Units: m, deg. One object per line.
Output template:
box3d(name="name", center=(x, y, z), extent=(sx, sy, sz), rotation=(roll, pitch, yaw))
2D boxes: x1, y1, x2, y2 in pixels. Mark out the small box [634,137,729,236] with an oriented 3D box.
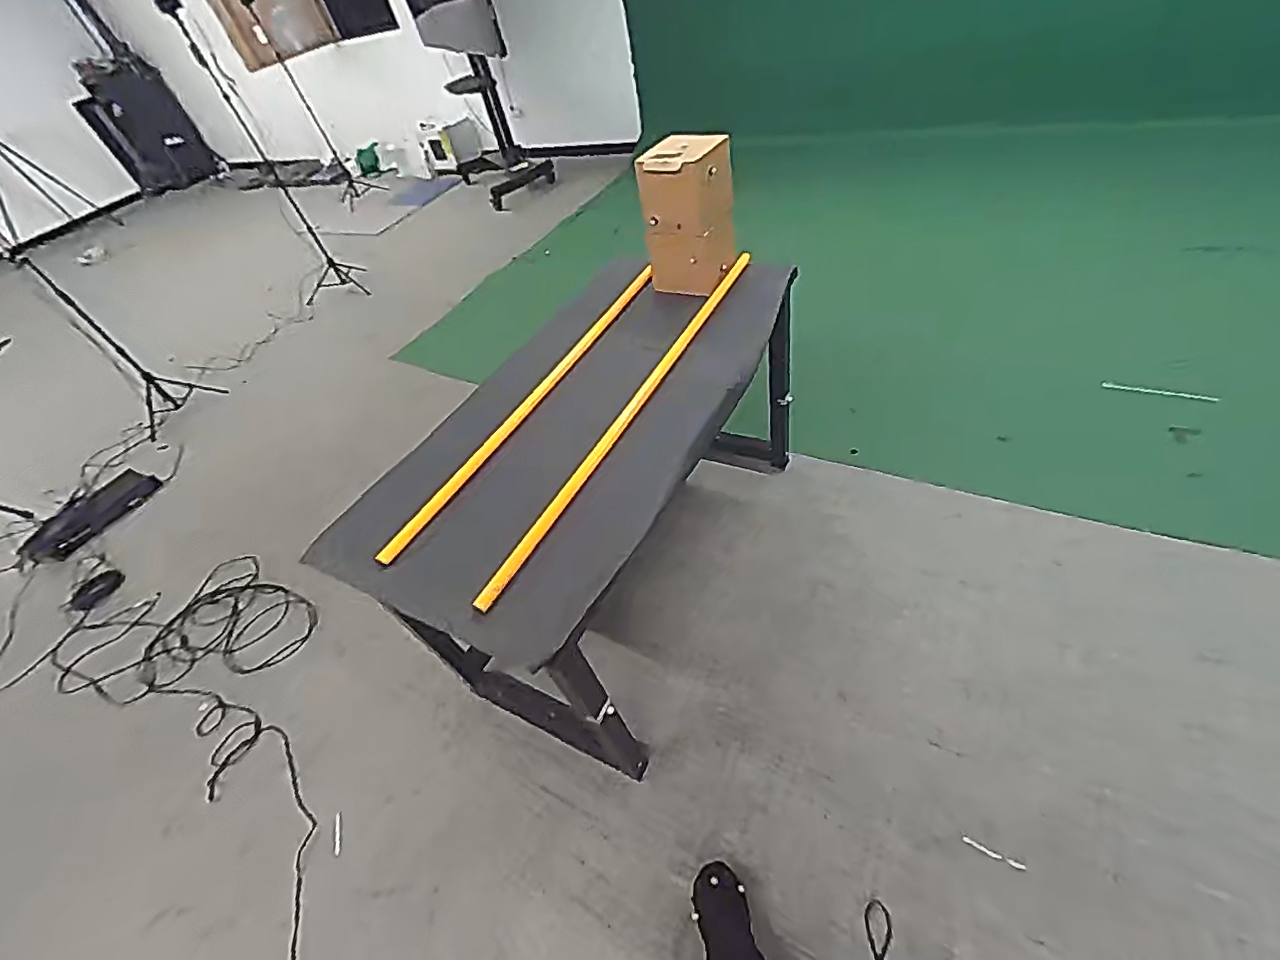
box3d(name="small box", center=(0.112, -0.728, 1.344), extent=(0.168, 0.176, 0.179), rotation=(20, 55, 28))
